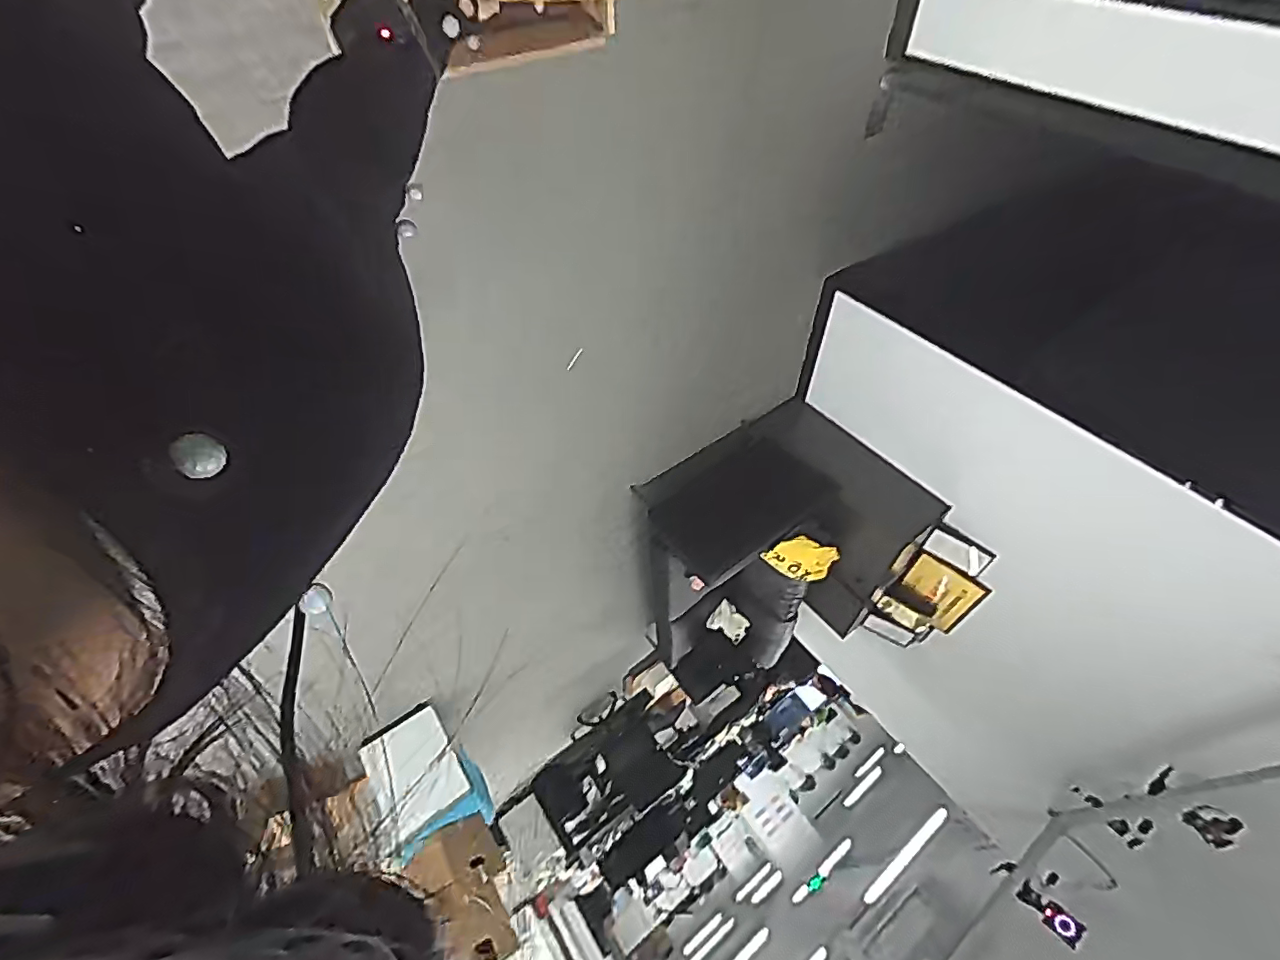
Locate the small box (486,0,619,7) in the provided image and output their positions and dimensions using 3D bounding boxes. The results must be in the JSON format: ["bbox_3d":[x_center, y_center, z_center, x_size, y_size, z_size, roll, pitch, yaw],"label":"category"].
[{"bbox_3d":[-0.137,-0.659,0.615,0.179,0.176,0.168,-25,145,-26],"label":"small box"}]
